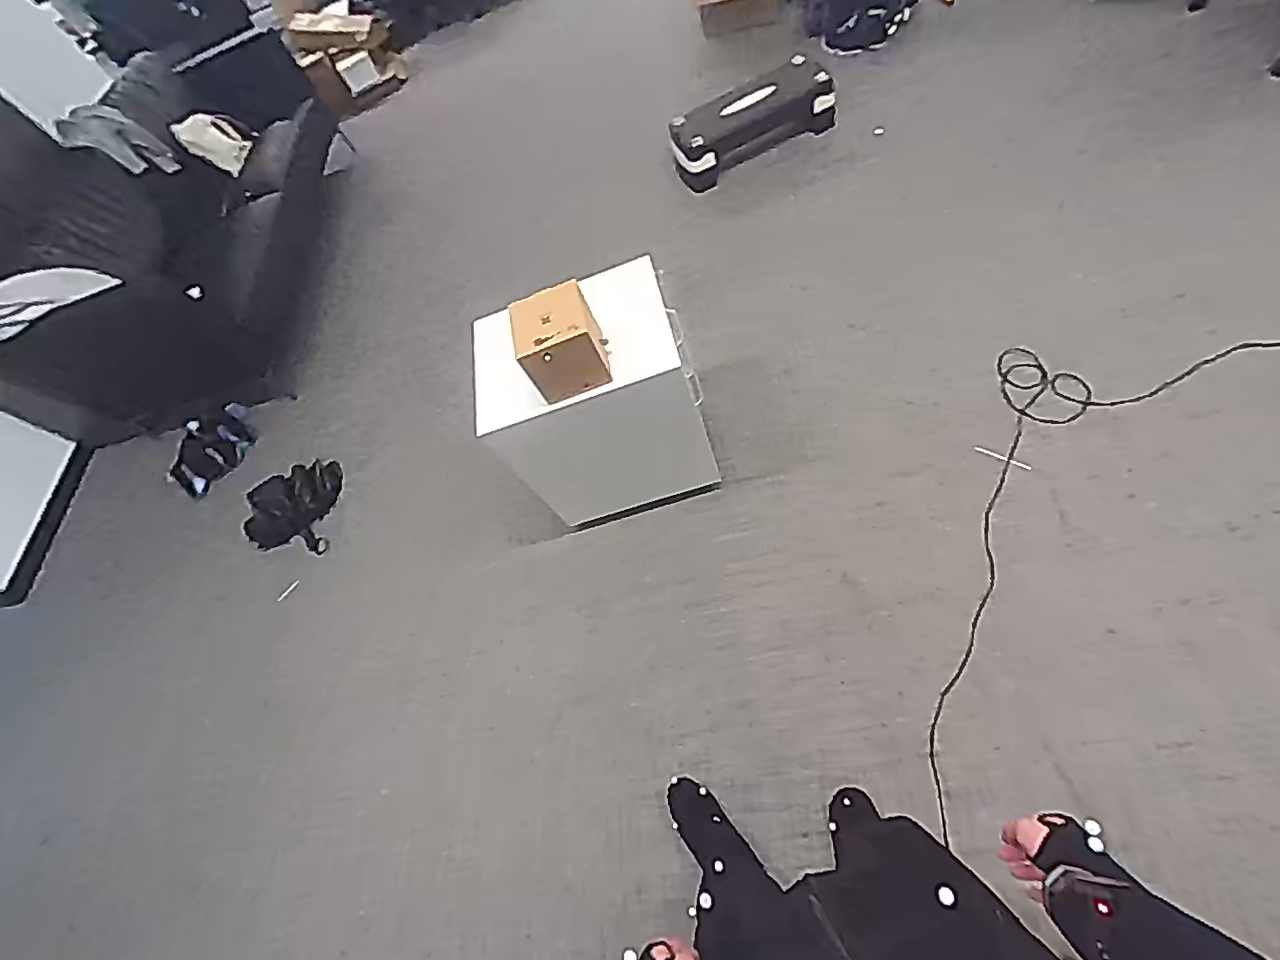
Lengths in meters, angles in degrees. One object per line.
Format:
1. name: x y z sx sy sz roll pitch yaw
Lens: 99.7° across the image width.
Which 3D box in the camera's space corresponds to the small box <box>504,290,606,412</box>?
1. small box: -0.190 -0.288 1.223 0.168 0.176 0.179 -20 56 7
